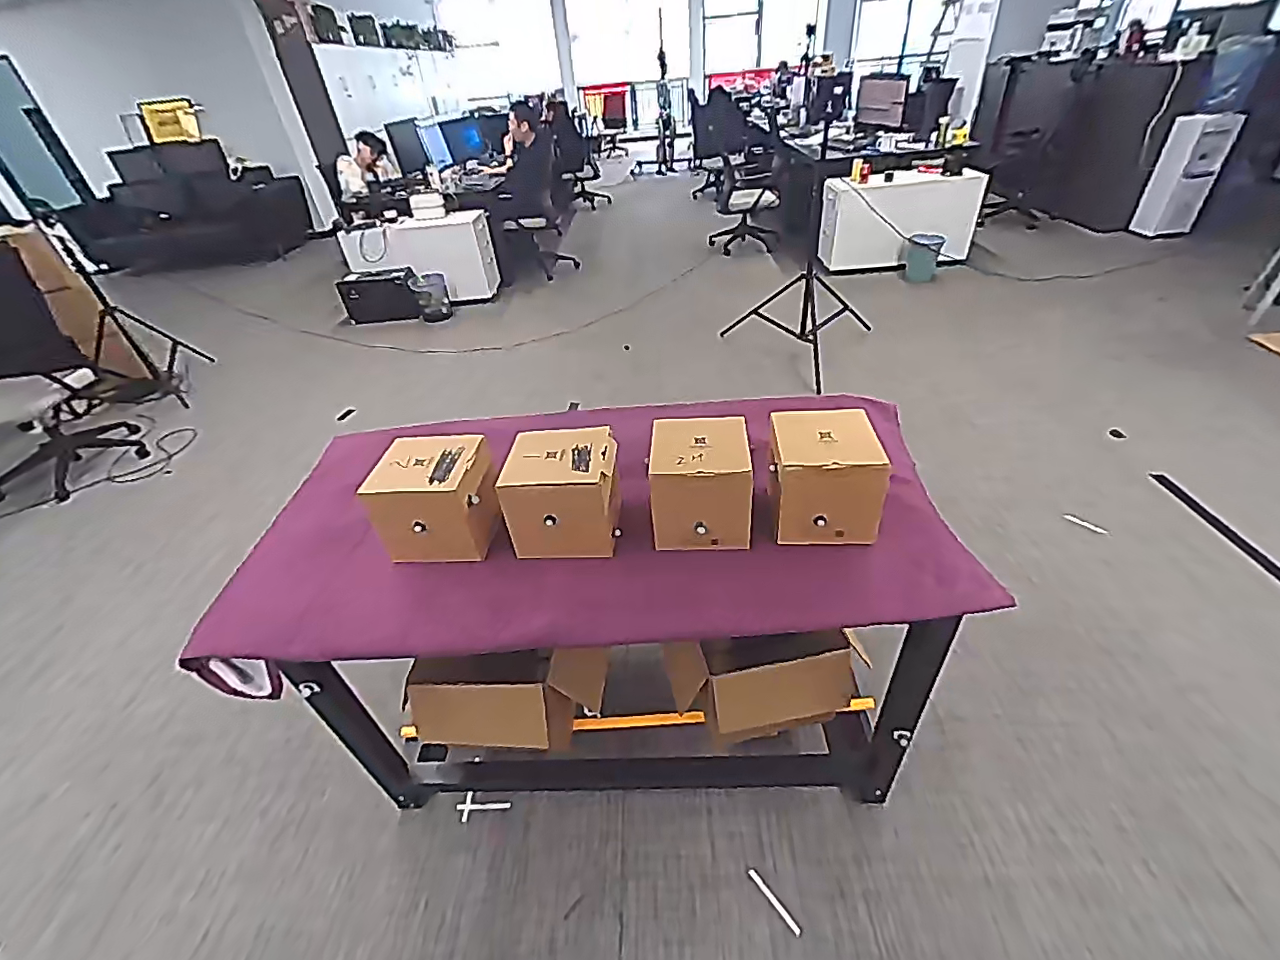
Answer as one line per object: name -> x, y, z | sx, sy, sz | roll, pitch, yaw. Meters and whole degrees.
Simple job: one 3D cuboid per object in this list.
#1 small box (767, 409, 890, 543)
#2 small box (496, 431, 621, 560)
small box -> 0.318, -0.008, 0.953 | 0.168, 0.176, 0.179 | -2, 37, 7
small box -> -0.134, 0.029, 0.976 | 0.179, 0.176, 0.168 | -3, 37, 7
